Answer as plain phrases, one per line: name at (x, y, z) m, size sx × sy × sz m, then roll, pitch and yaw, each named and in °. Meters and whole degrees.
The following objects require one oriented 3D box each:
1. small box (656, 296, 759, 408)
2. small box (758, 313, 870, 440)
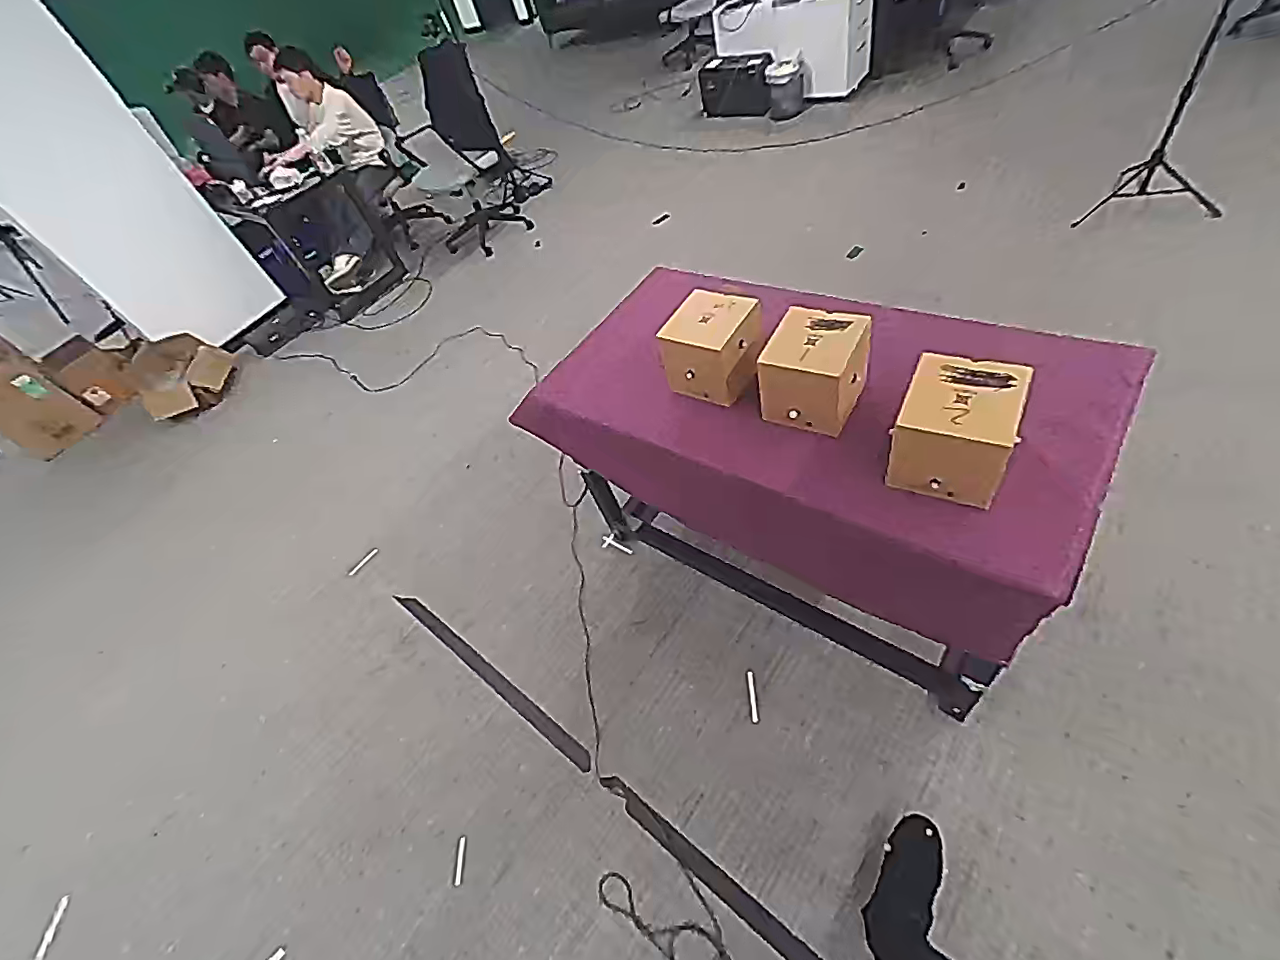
small box at (0.166, -0.291, 1.243) m, size 0.168 × 0.176 × 0.179 m, roll 22°, pitch 62°, yaw 31°
small box at (0.358, -0.214, 1.117) m, size 0.168 × 0.176 × 0.179 m, roll 18°, pitch 60°, yaw 30°
